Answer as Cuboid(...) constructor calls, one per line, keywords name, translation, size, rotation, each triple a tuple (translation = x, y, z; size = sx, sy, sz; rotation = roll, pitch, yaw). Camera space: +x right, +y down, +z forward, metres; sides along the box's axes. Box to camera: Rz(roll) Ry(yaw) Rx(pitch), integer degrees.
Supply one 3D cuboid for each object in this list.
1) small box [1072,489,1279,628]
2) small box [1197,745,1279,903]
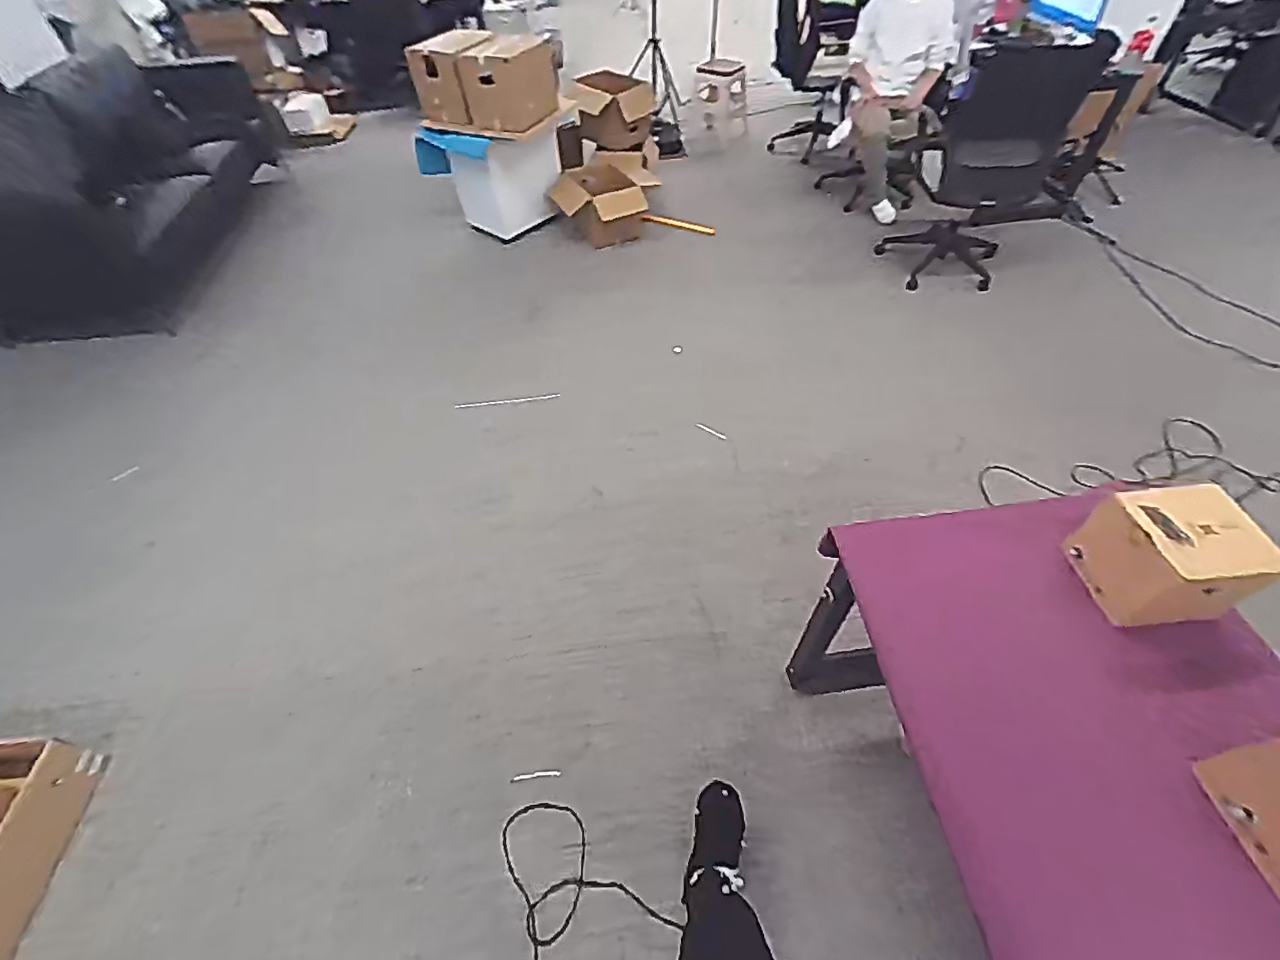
Cuboid(name="small box", translation=(0.876, 0.135, 0.902), size=(0.179, 0.176, 0.168), rotation=(-5, 51, -1))
Cuboid(name="small box", translation=(0.881, 0.421, 0.669), size=(0.179, 0.176, 0.168), rotation=(-6, 49, -2))
